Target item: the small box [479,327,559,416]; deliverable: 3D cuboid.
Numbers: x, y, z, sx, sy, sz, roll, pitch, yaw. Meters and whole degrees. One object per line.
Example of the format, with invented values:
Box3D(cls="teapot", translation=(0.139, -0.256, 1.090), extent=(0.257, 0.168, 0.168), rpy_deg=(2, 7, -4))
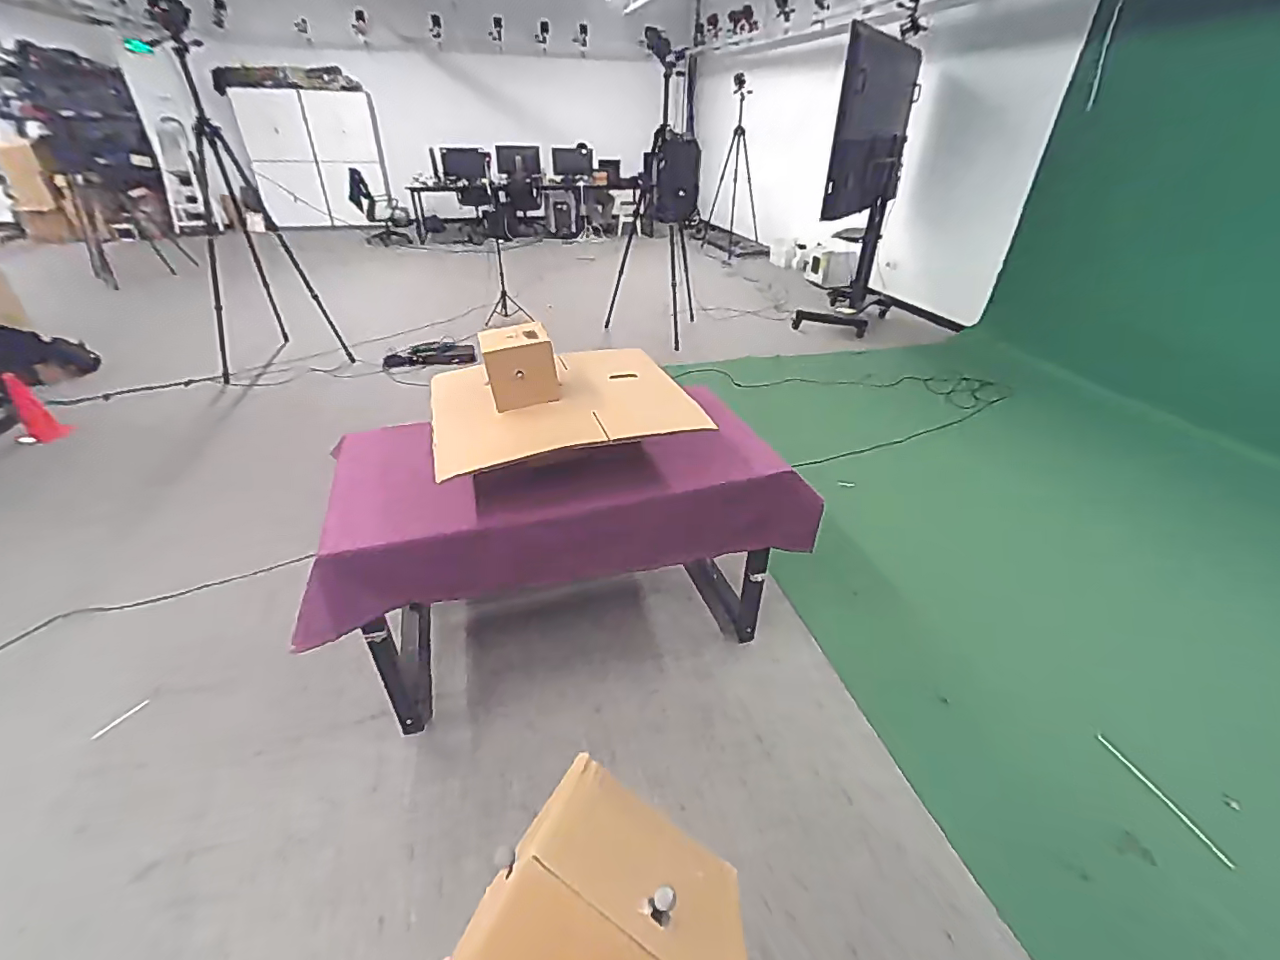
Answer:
Box3D(cls="small box", translation=(-0.323, -0.294, 1.462), extent=(0.179, 0.176, 0.168), rpy_deg=(-15, 36, -11))
